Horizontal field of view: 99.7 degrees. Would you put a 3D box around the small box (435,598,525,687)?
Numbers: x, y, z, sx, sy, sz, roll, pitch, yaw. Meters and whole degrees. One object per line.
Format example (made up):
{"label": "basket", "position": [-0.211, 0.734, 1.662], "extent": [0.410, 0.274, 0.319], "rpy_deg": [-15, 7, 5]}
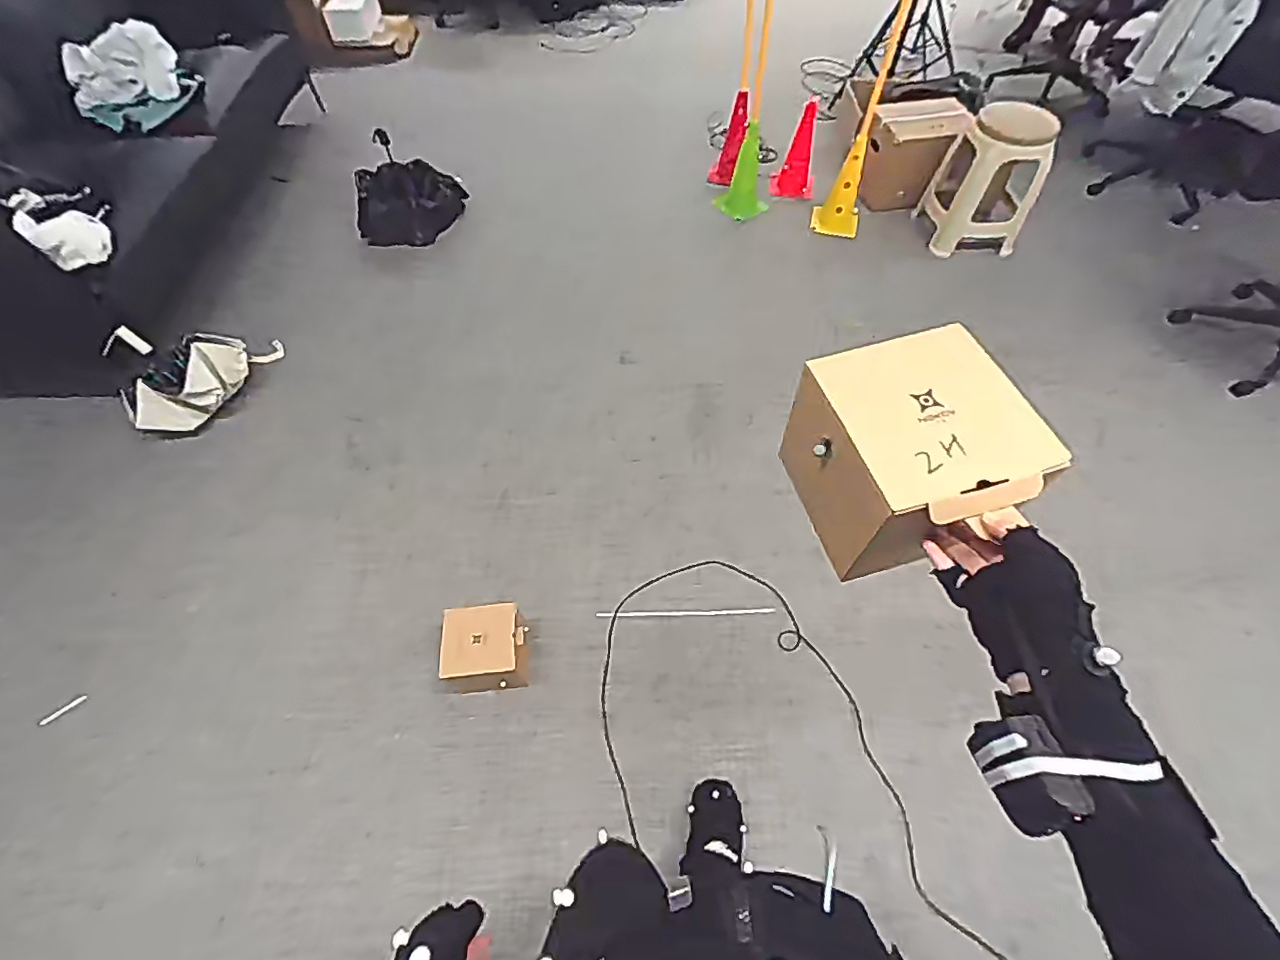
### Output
{"label": "small box", "position": [-0.381, 0.401, 1.324], "extent": [0.179, 0.176, 0.168], "rpy_deg": [-6, 58, -3]}

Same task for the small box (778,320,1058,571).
{"label": "small box", "position": [0.260, -0.030, 0.562], "extent": [0.168, 0.176, 0.179], "rpy_deg": [-16, 61, -5]}
